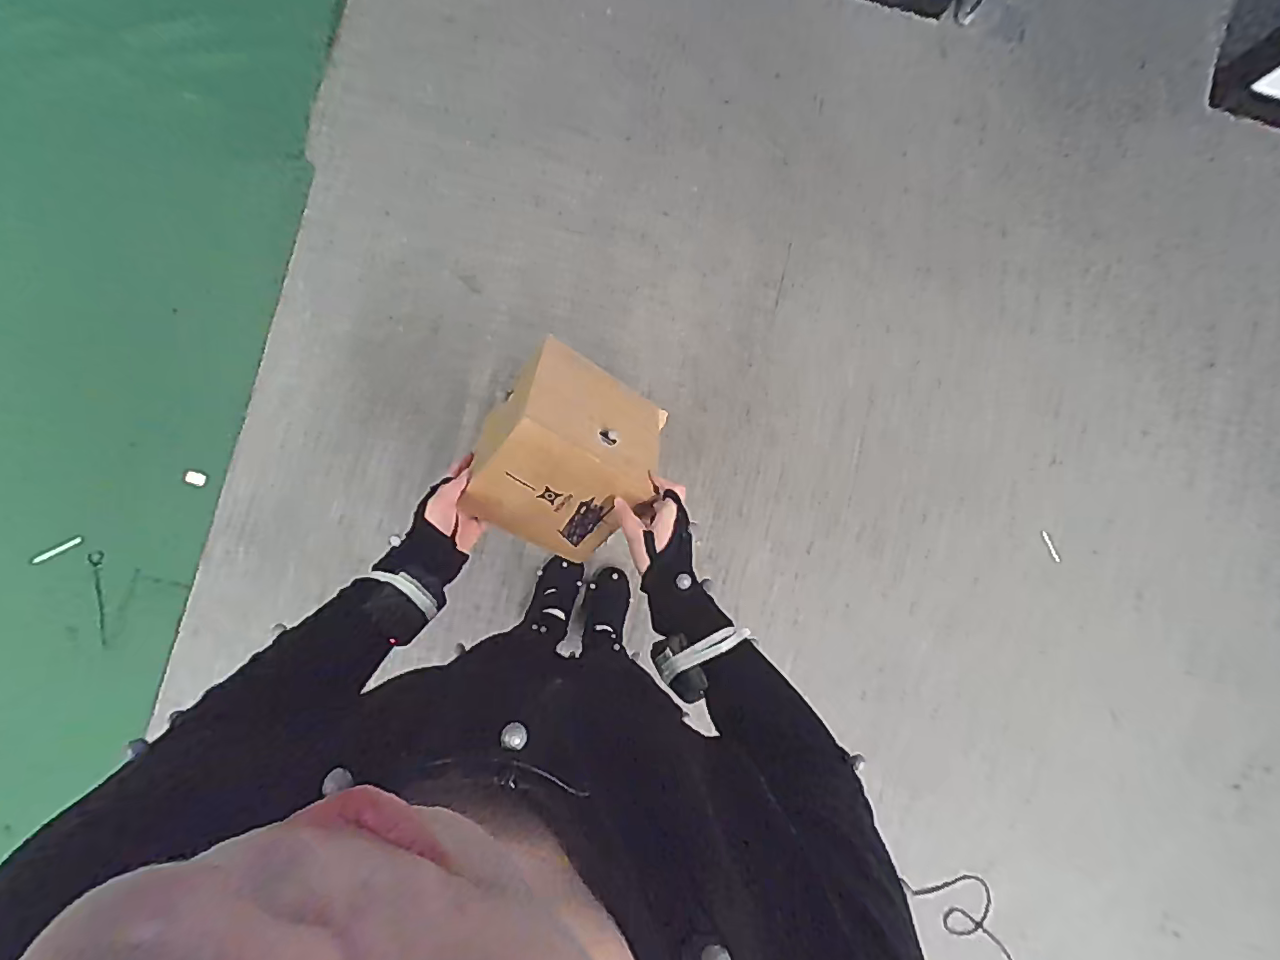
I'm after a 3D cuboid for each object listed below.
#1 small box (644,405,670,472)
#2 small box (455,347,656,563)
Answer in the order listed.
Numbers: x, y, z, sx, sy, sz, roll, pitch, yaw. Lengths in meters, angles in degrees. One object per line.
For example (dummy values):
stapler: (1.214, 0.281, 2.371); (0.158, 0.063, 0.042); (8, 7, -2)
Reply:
small box: (-0.056, -0.074, 1.103); (0.179, 0.176, 0.168); (21, 86, -3)
small box: (-0.095, -0.032, 0.673); (0.179, 0.176, 0.168); (31, 127, -25)
